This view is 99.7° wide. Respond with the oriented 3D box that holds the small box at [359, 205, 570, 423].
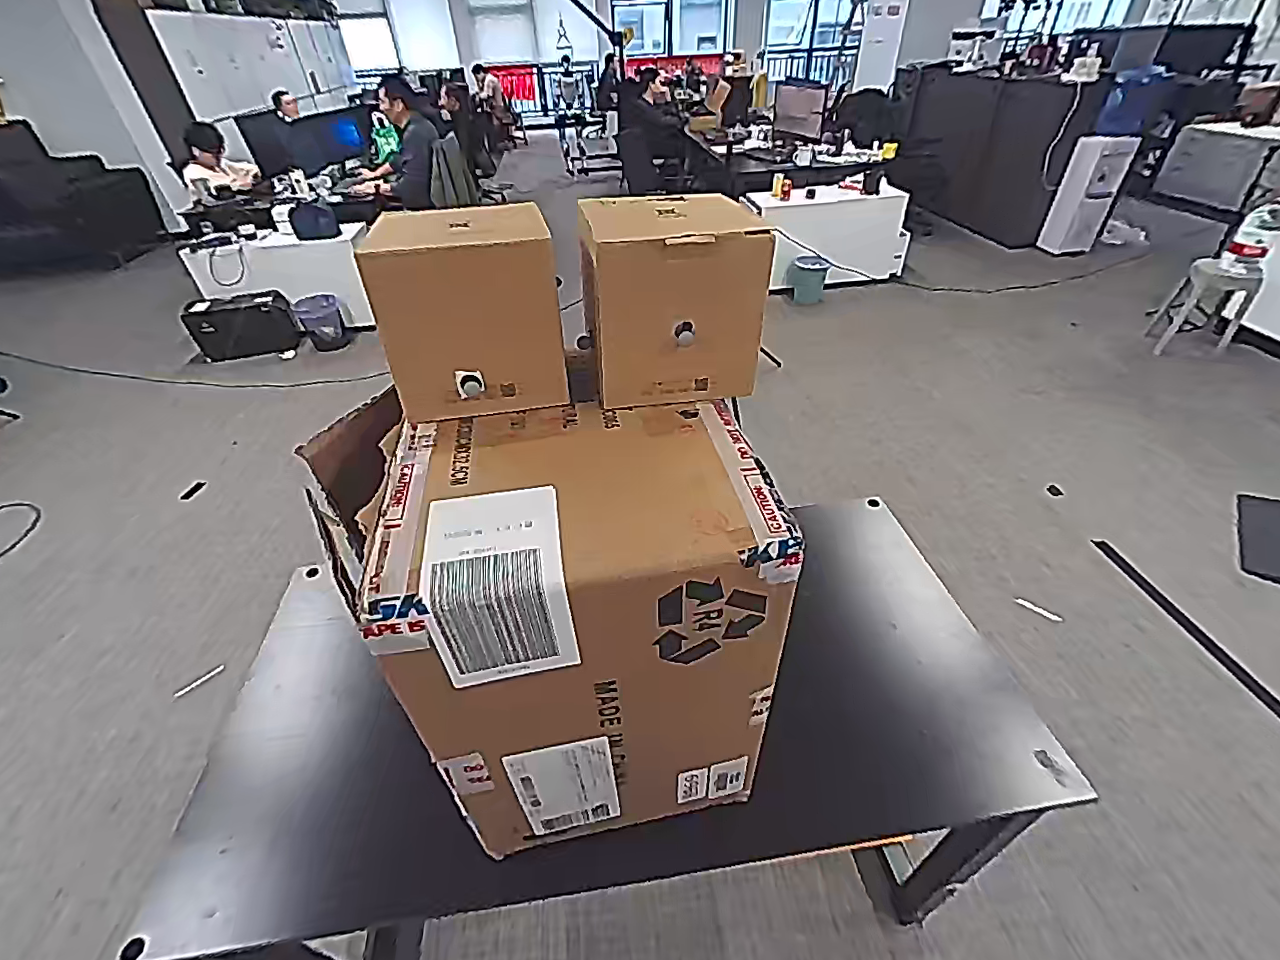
[{"bbox_3d":[-0.174,-0.181,0.577,0.168,0.176,0.179,-11,39,-10],"label":"small box"}]
